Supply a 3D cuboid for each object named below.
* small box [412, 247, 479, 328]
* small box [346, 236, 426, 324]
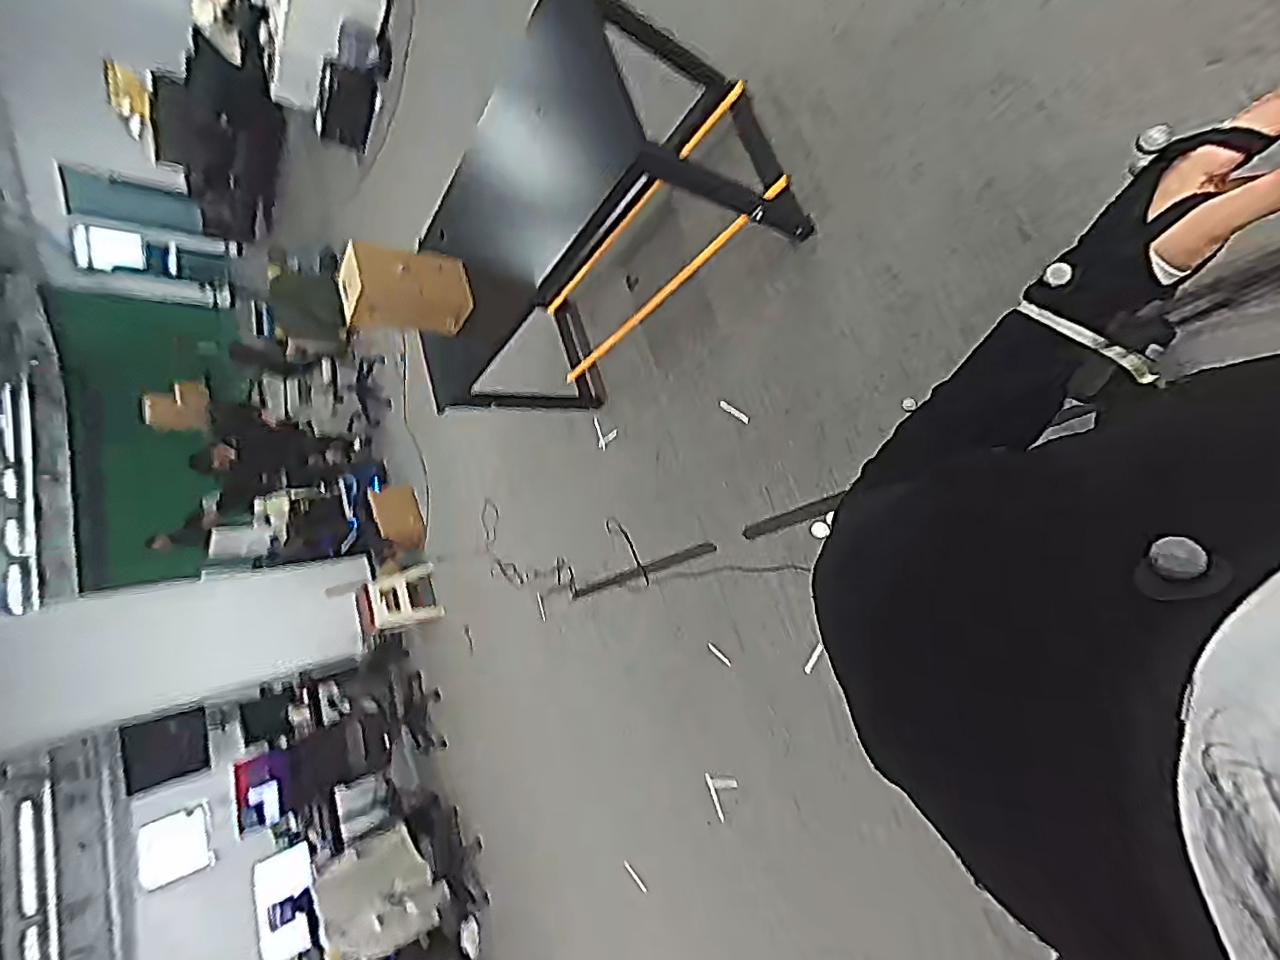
[{"bbox_3d":[-0.635,-0.605,1.723,0.168,0.176,0.179,-33,70,46],"label":"small box"},{"bbox_3d":[-0.757,-0.586,1.613,0.179,0.176,0.168,-35,68,44],"label":"small box"}]
